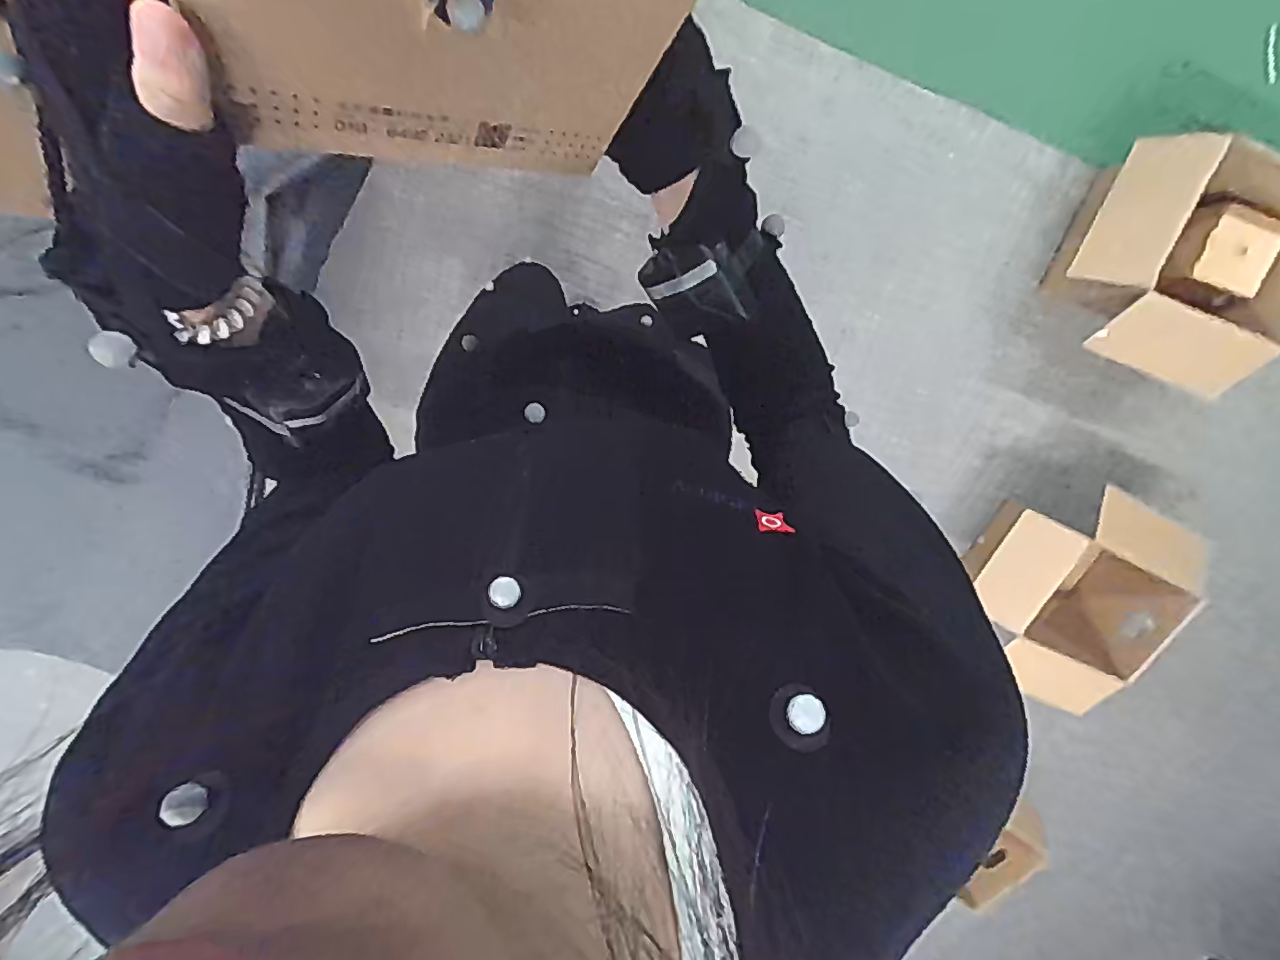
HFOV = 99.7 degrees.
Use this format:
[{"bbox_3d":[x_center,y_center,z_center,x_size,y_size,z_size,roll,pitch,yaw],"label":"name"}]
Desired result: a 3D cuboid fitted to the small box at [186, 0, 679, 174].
[{"bbox_3d":[-0.077,-0.243,0.190,0.168,0.176,0.179,-14,84,-32],"label":"small box"}]
